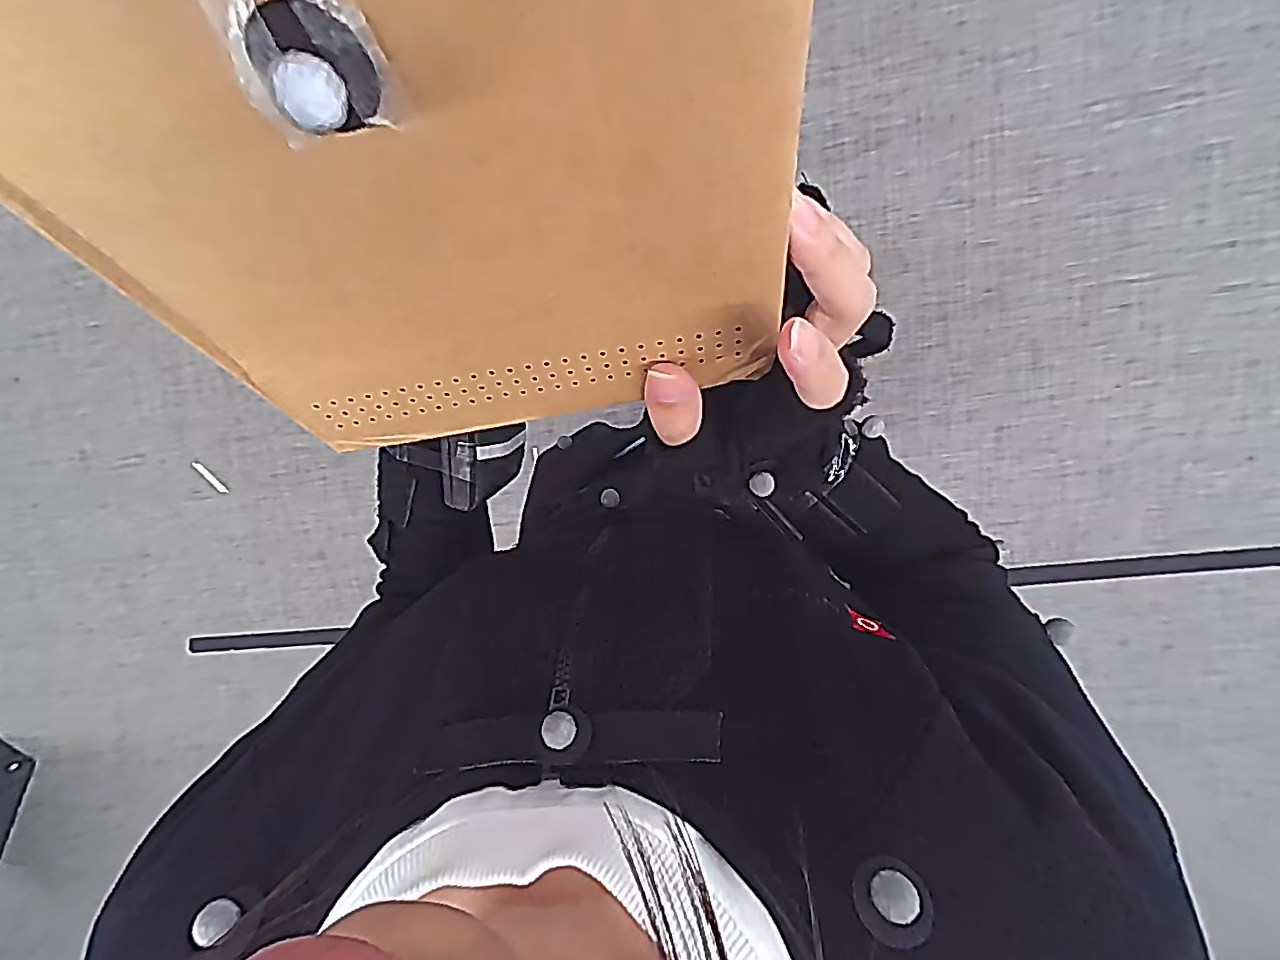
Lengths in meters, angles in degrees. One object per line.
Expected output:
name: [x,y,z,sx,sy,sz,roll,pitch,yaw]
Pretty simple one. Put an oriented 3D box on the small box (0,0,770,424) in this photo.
small box: [-0.053,-0.136,0.192,0.179,0.176,0.168,-9,64,6]
